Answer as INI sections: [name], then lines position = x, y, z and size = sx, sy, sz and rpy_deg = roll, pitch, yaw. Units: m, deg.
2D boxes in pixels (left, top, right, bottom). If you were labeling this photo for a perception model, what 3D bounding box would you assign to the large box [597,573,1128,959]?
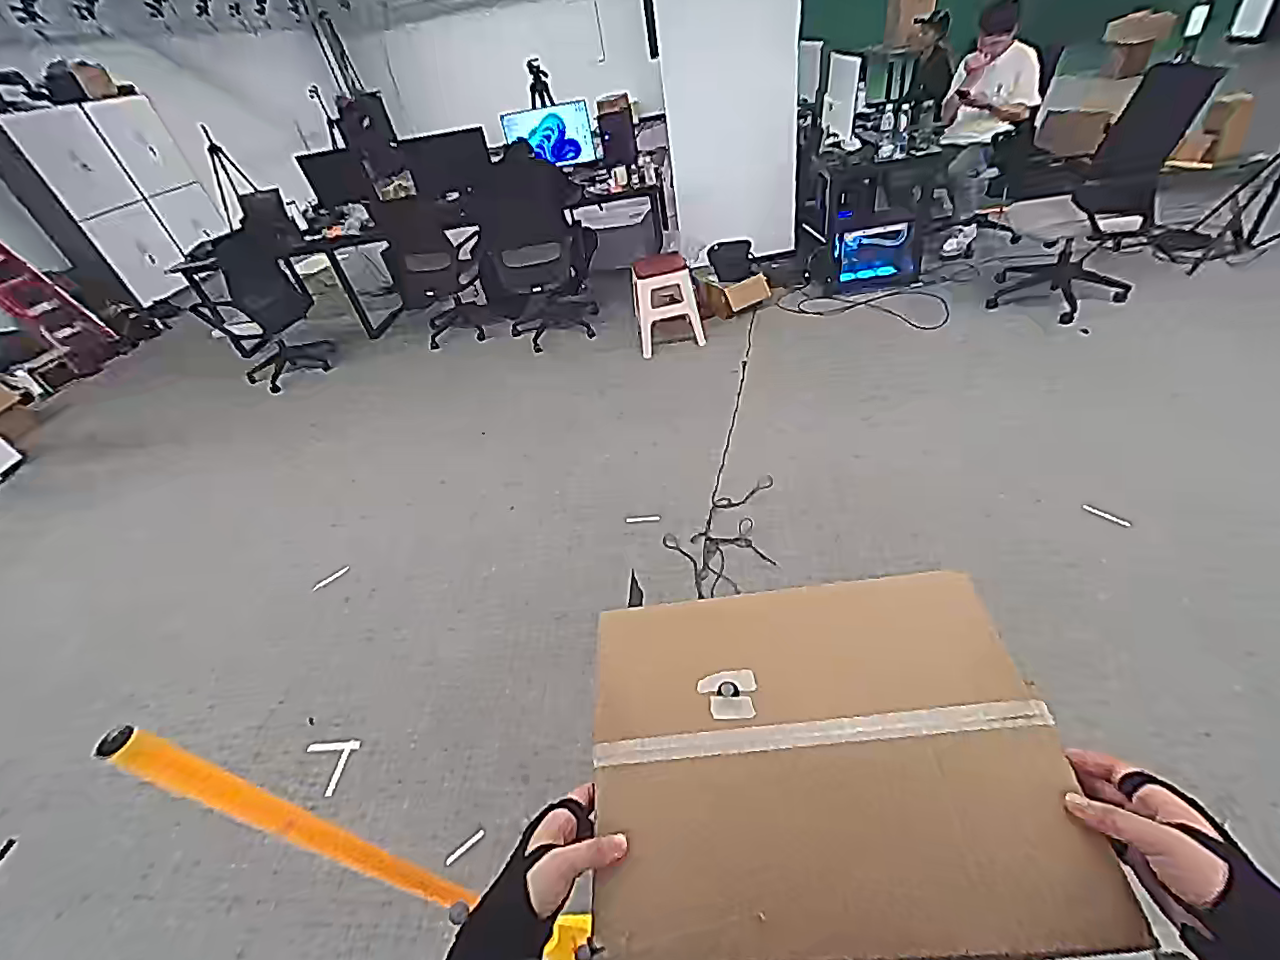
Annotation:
[large box]
position = 0.185, 0.343, 0.617
size = 0.408, 0.320, 0.320
rpy_deg = -9, 45, 7
